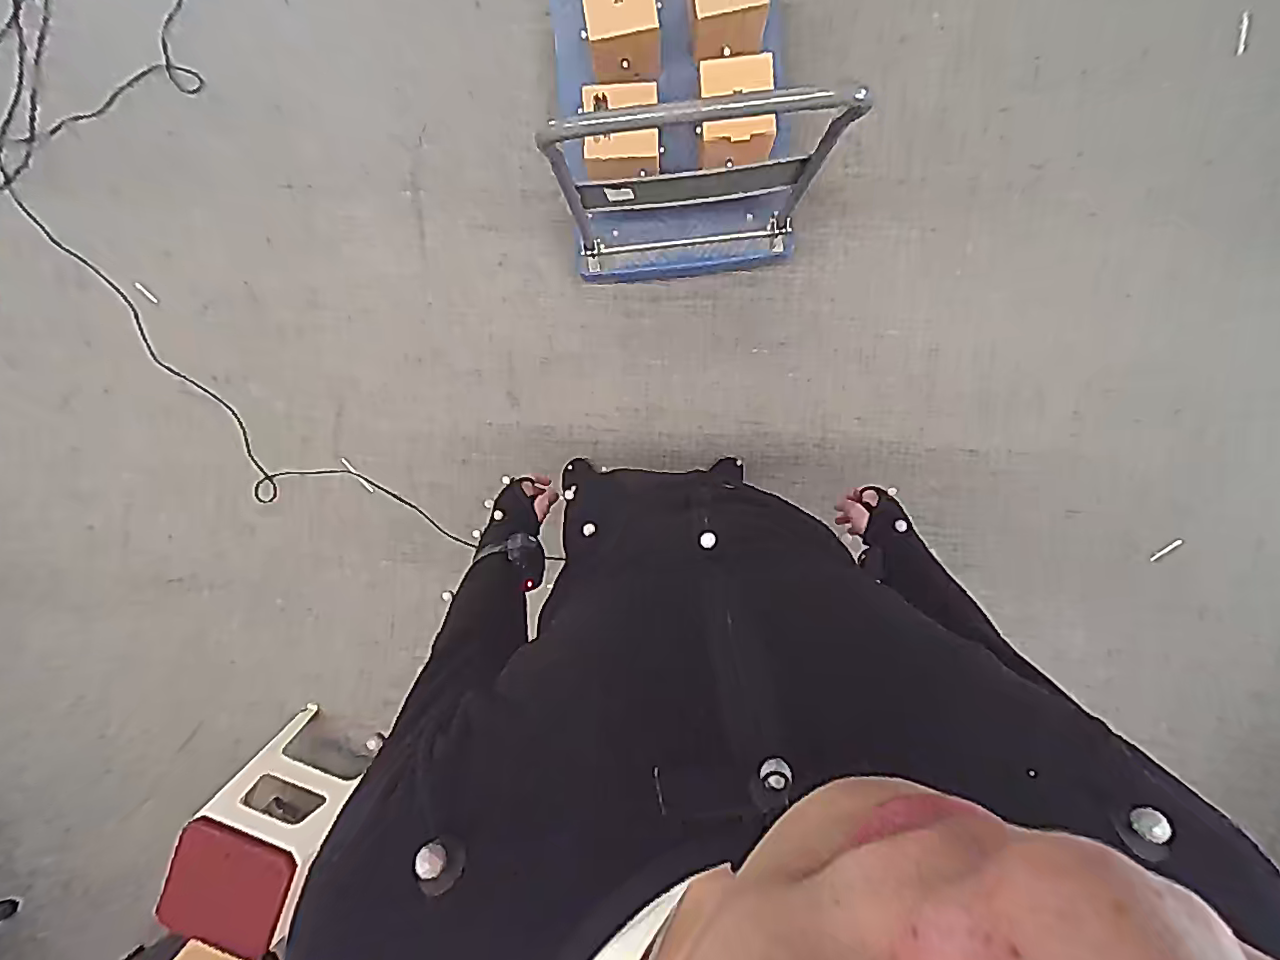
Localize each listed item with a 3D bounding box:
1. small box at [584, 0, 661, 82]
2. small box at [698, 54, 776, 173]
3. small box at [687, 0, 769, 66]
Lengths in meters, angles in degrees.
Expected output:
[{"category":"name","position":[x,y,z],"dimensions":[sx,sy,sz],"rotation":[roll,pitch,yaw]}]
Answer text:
[{"category":"small box","position":[-0.042,-1.115,1.321],"dimensions":[0.168,0.176,0.179],"rotation":[-9,93,4]},{"category":"small box","position":[0.231,-0.885,1.319],"dimensions":[0.168,0.176,0.179],"rotation":[-4,94,4]},{"category":"small box","position":[0.206,-1.154,1.301],"dimensions":[0.168,0.176,0.179],"rotation":[-8,94,5]}]
